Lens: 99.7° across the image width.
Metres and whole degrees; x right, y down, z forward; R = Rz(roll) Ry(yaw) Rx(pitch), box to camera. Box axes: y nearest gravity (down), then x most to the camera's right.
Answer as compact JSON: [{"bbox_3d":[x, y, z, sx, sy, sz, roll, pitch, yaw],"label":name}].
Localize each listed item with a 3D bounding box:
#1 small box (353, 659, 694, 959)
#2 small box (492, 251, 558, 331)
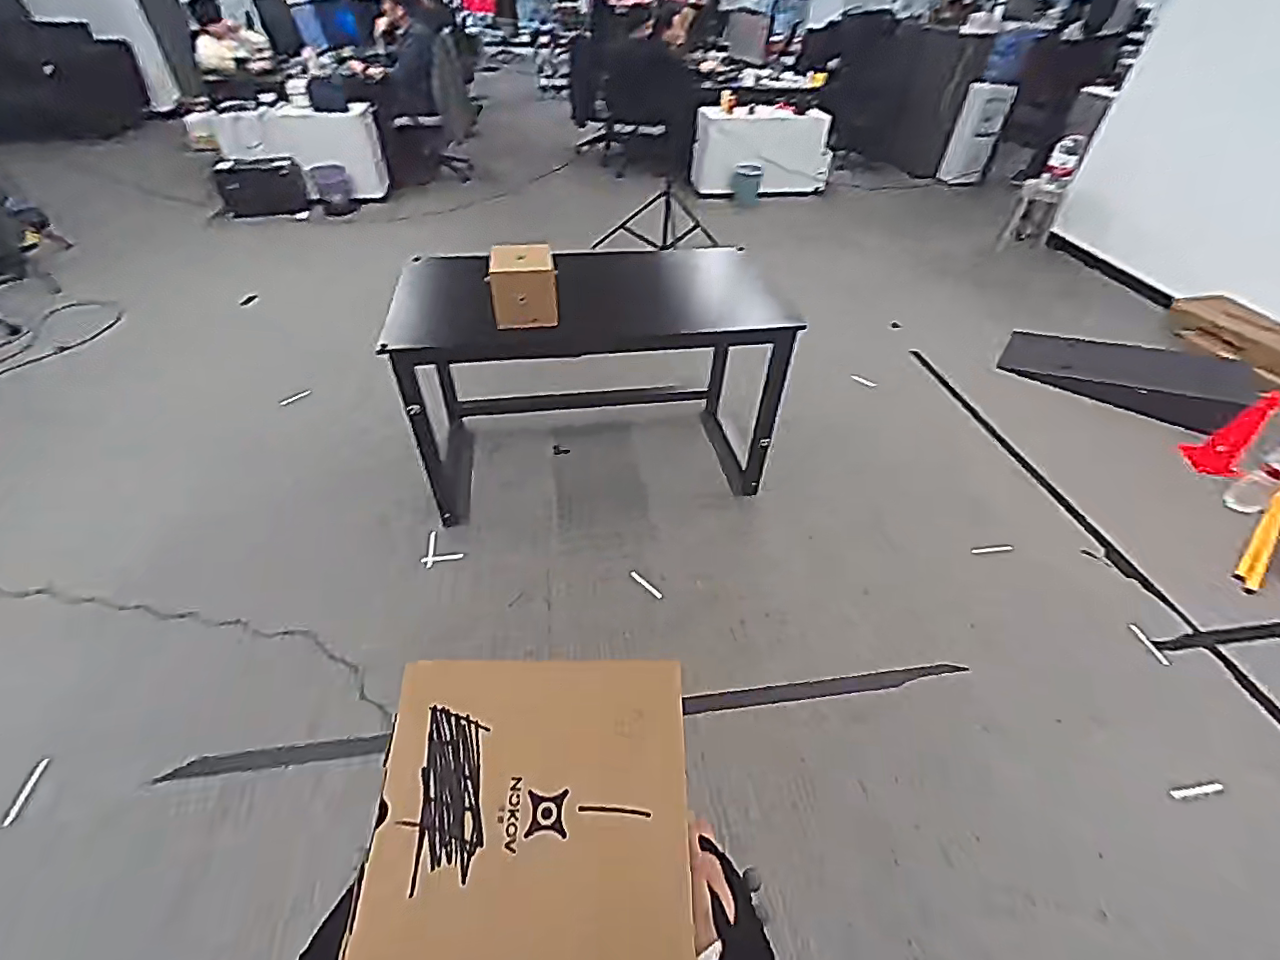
[{"bbox_3d":[-0.061,0.230,0.378,0.179,0.176,0.168,0,58,-2],"label":"small box"},{"bbox_3d":[-0.327,-0.538,1.550,0.168,0.176,0.179,-5,44,-9],"label":"small box"}]
